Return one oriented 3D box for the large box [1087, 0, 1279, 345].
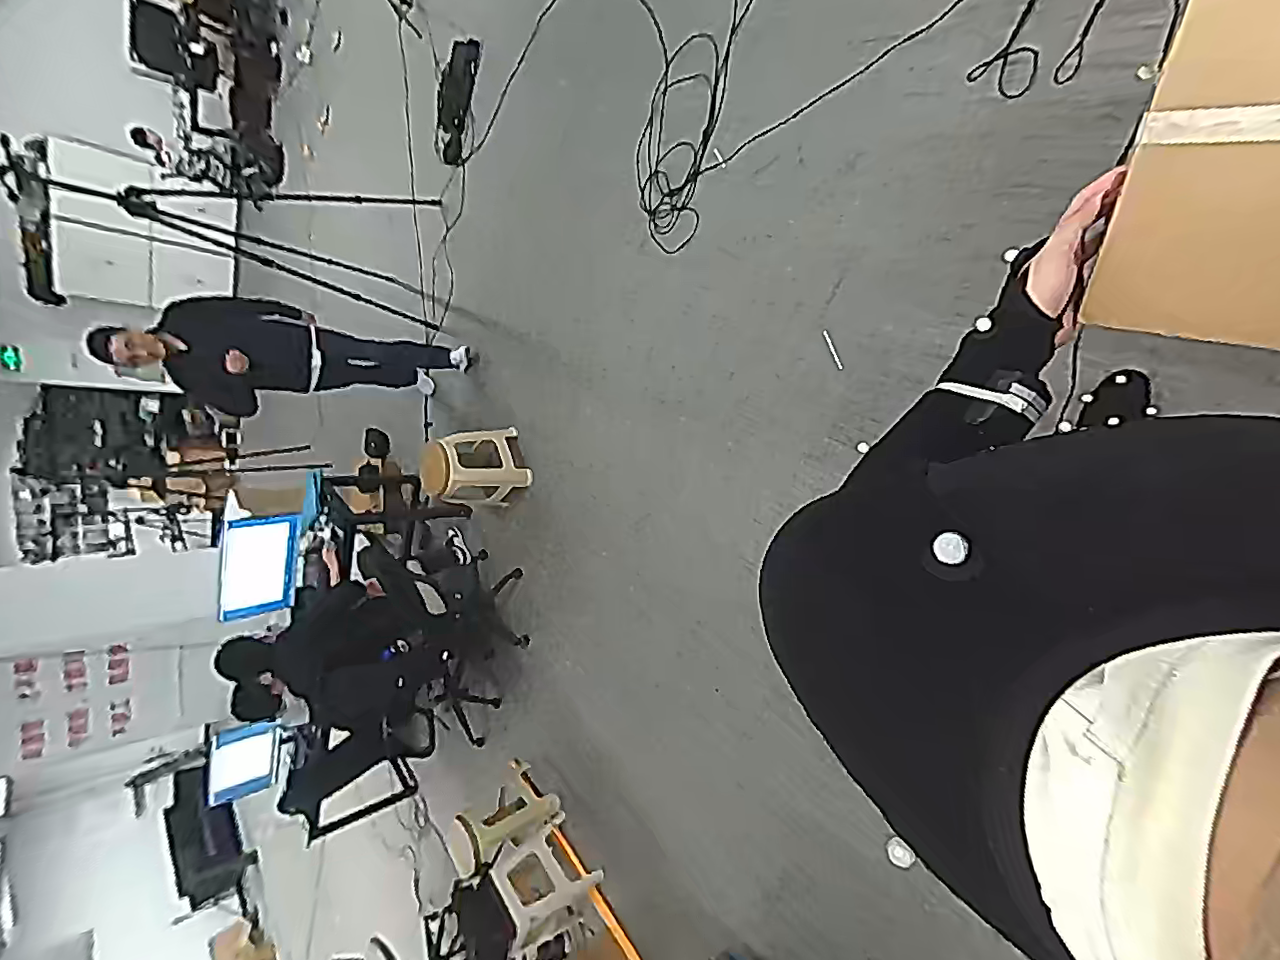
[{"bbox_3d":[0.649,-0.280,0.397,0.408,0.320,0.320,24,132,39],"label":"large box"}]
